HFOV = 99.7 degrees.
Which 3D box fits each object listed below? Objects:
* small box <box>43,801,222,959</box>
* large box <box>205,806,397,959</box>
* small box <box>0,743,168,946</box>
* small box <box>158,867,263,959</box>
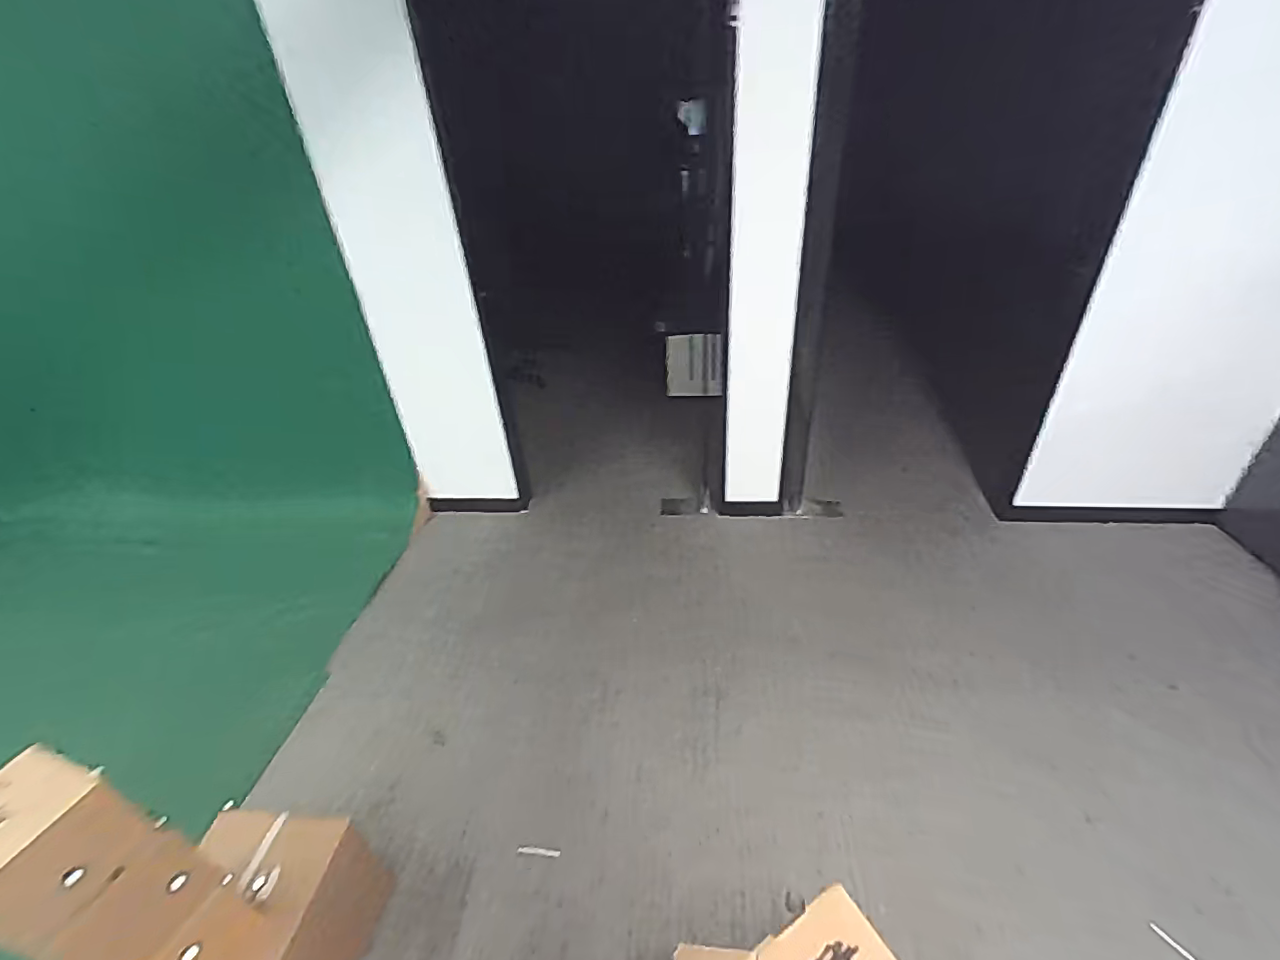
[{"bbox_3d":[-0.823,0.654,0.865,0.168,0.176,0.179,7,36,19],"label":"small box"},{"bbox_3d":[-0.779,0.968,1.121,0.320,0.320,0.408,0,33,7],"label":"large box"},{"bbox_3d":[-0.845,0.520,0.773,0.179,0.176,0.168,8,35,20],"label":"small box"},{"bbox_3d":[-0.807,0.795,0.947,0.168,0.176,0.179,6,35,16],"label":"small box"}]
